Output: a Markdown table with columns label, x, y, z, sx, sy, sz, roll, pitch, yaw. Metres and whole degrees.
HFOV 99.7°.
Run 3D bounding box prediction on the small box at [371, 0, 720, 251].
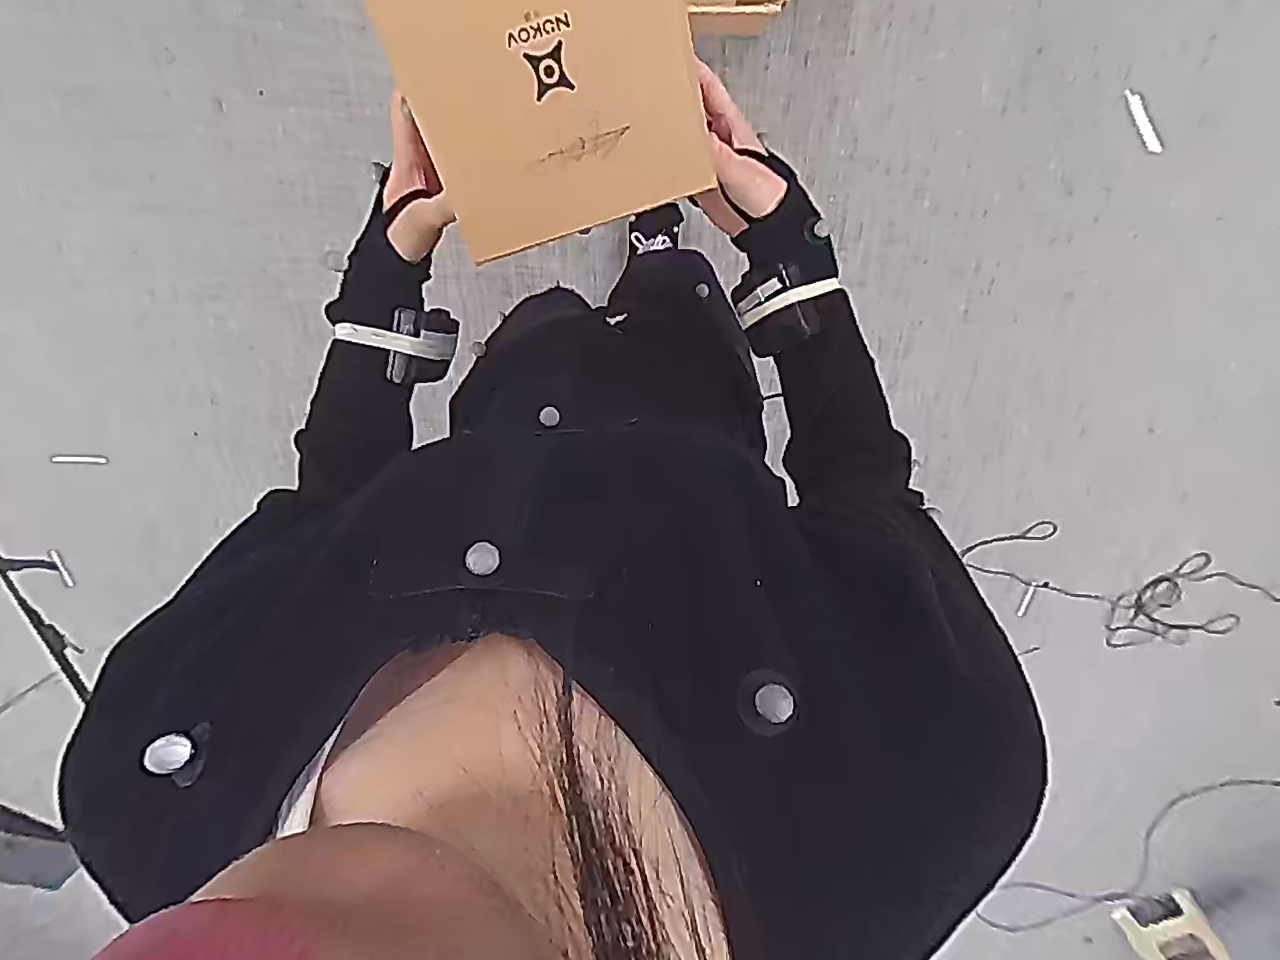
| label | x | y | z | sx | sy | sz | roll | pitch | yaw |
| --- | --- | --- | --- | --- | --- | --- | --- | --- | --- |
| small box | -0.059 | -0.278 | 0.364 | 0.168 | 0.176 | 0.179 | -17 | 122 | 4 |
